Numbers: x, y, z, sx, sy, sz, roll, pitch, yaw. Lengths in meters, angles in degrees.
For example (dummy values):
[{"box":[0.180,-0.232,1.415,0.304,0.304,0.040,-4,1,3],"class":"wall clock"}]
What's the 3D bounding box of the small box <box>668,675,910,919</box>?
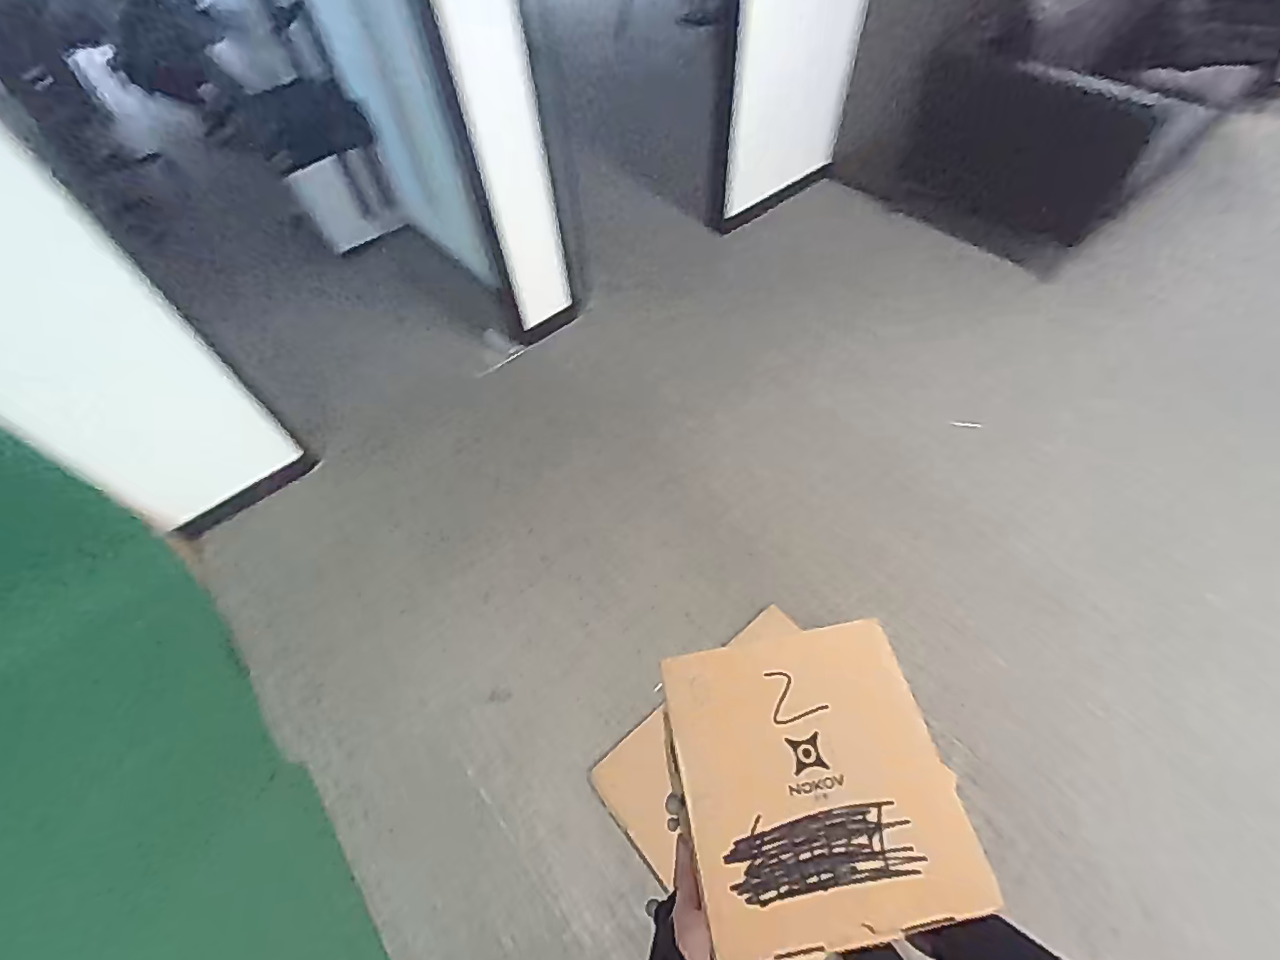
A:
[{"box":[0.128,0.314,0.546,0.179,0.176,0.168,-11,56,-3],"class":"small box"}]
